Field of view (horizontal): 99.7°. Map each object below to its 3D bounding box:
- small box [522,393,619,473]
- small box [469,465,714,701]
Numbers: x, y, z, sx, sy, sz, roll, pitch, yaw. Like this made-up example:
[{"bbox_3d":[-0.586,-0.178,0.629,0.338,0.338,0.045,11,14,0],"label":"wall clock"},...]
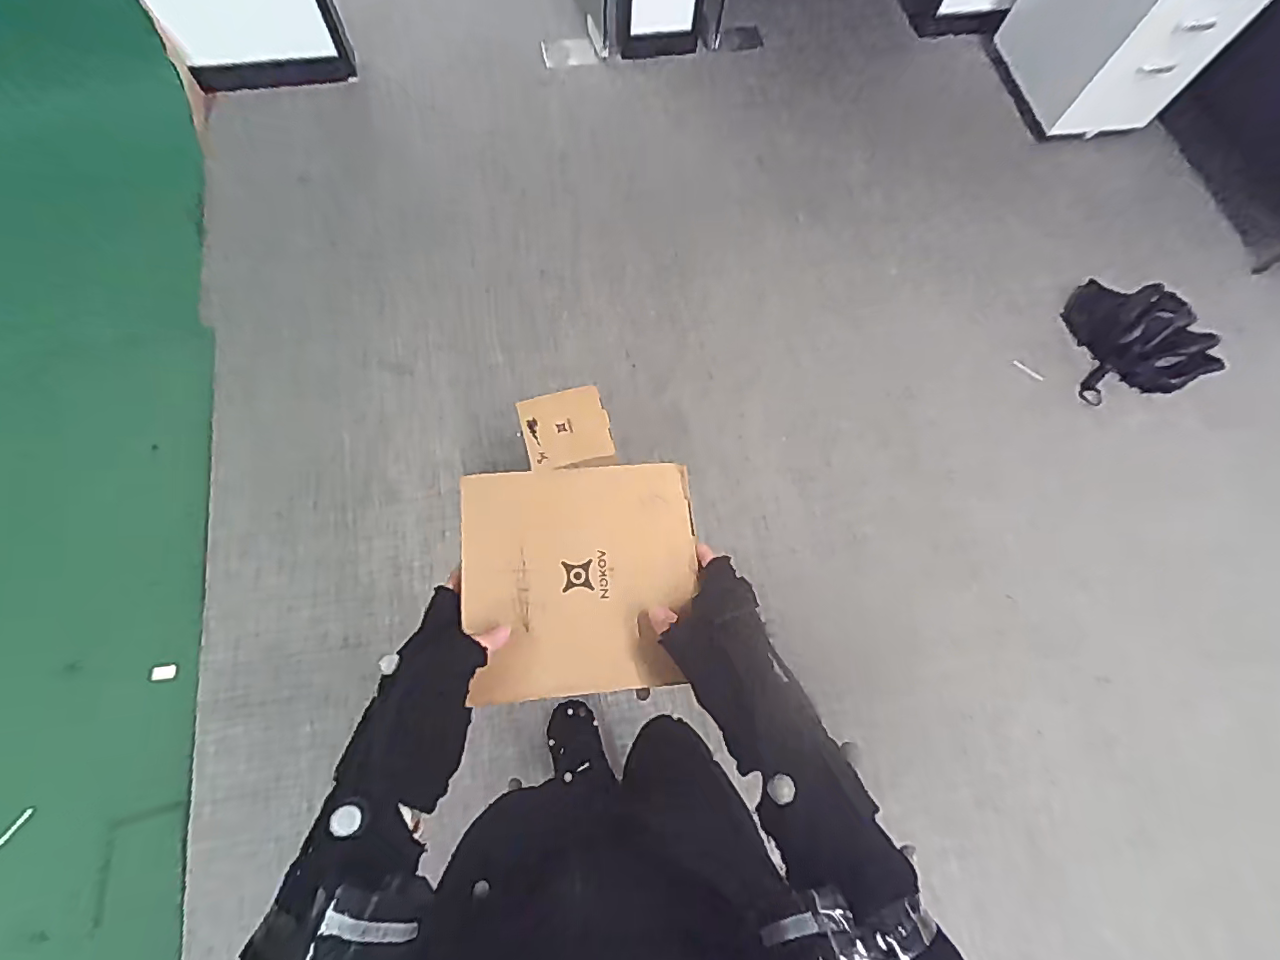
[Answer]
[{"bbox_3d":[-0.153,-0.069,1.193,0.179,0.176,0.168,-13,72,-9],"label":"small box"},{"bbox_3d":[-0.046,0.093,0.481,0.179,0.176,0.168,-5,73,-6],"label":"small box"}]
